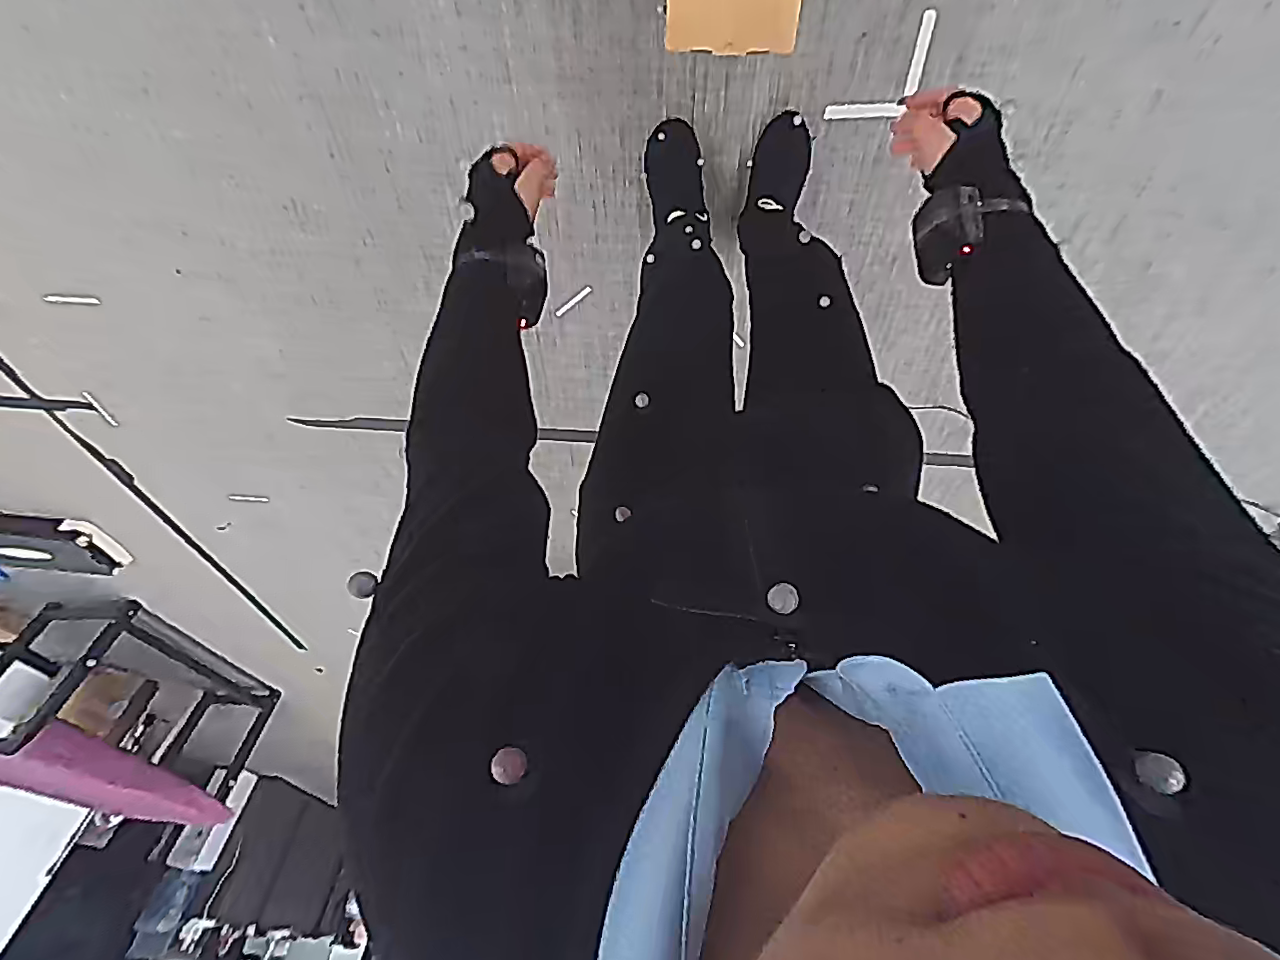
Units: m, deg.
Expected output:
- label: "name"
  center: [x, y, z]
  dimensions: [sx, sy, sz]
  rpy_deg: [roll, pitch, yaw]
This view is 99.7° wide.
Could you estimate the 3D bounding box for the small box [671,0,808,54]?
- label: "small box"
  center: [0.126, -0.662, 0.680]
  dimensions: [0.168, 0.176, 0.179]
  rpy_deg: [3, 137, 3]
